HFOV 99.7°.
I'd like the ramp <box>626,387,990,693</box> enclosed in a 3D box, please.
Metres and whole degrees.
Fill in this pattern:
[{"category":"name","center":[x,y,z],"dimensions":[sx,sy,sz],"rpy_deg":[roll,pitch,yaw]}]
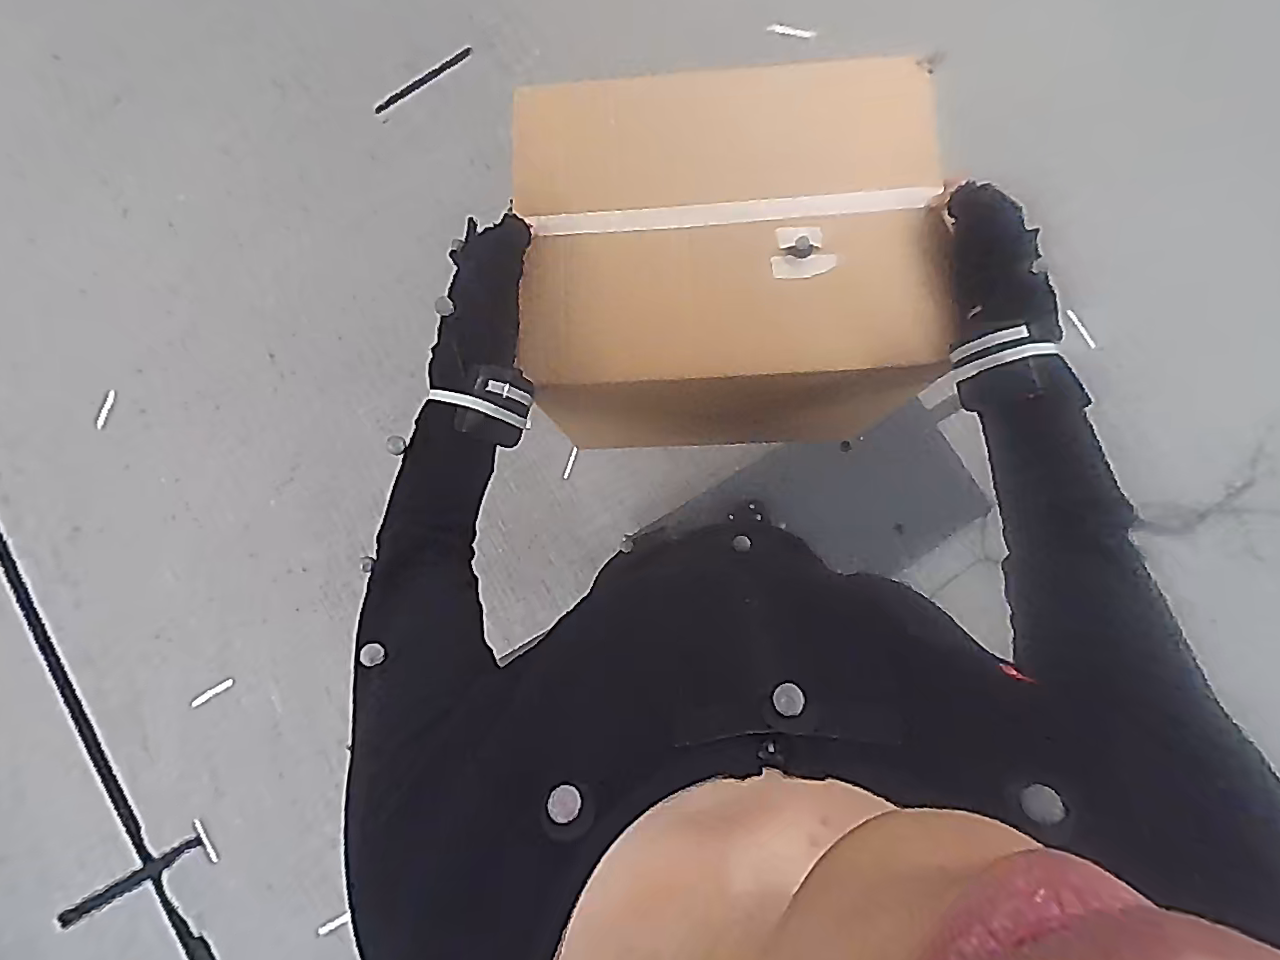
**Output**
[{"category":"ramp","center":[0.501,0.123,1.565],"dimensions":[0.991,0.206,0.509],"rpy_deg":[-33,83,0]}]

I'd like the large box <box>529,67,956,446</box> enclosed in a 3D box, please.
[{"category":"large box","center":[0.095,-0.231,0.673],"dimensions":[0.408,0.320,0.320],"rpy_deg":[-2,82,3]}]
